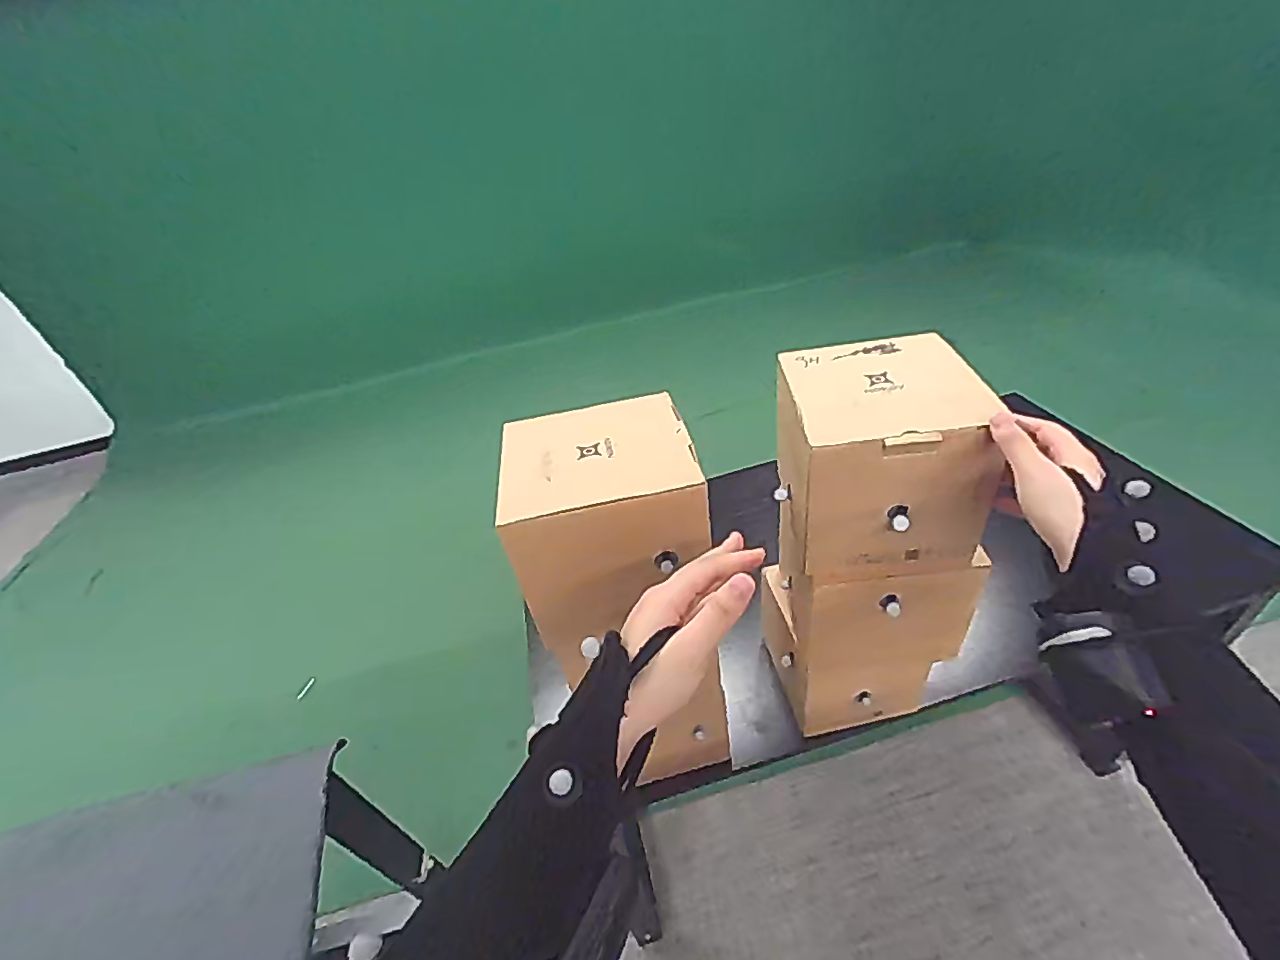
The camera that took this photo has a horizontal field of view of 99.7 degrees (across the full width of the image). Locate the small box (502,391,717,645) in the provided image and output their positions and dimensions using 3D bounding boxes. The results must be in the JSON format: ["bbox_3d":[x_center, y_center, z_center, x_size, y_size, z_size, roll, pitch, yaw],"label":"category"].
[{"bbox_3d":[-0.025,0.036,0.541,0.179,0.176,0.168,-13,37,-2],"label":"small box"}]

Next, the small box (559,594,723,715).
[{"bbox_3d":[-0.002,0.157,0.648,0.168,0.176,0.179,-12,37,-3],"label":"small box"}]

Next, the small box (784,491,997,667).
[{"bbox_3d":[0.277,0.103,0.647,0.179,0.176,0.168,-7,39,5],"label":"small box"}]

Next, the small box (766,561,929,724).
[{"bbox_3d":[0.286,0.220,0.762,0.168,0.176,0.179,-12,38,-2],"label":"small box"}]

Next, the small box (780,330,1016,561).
[{"bbox_3d":[0.242,-0.030,0.557,0.168,0.176,0.179,-6,40,8],"label":"small box"}]
